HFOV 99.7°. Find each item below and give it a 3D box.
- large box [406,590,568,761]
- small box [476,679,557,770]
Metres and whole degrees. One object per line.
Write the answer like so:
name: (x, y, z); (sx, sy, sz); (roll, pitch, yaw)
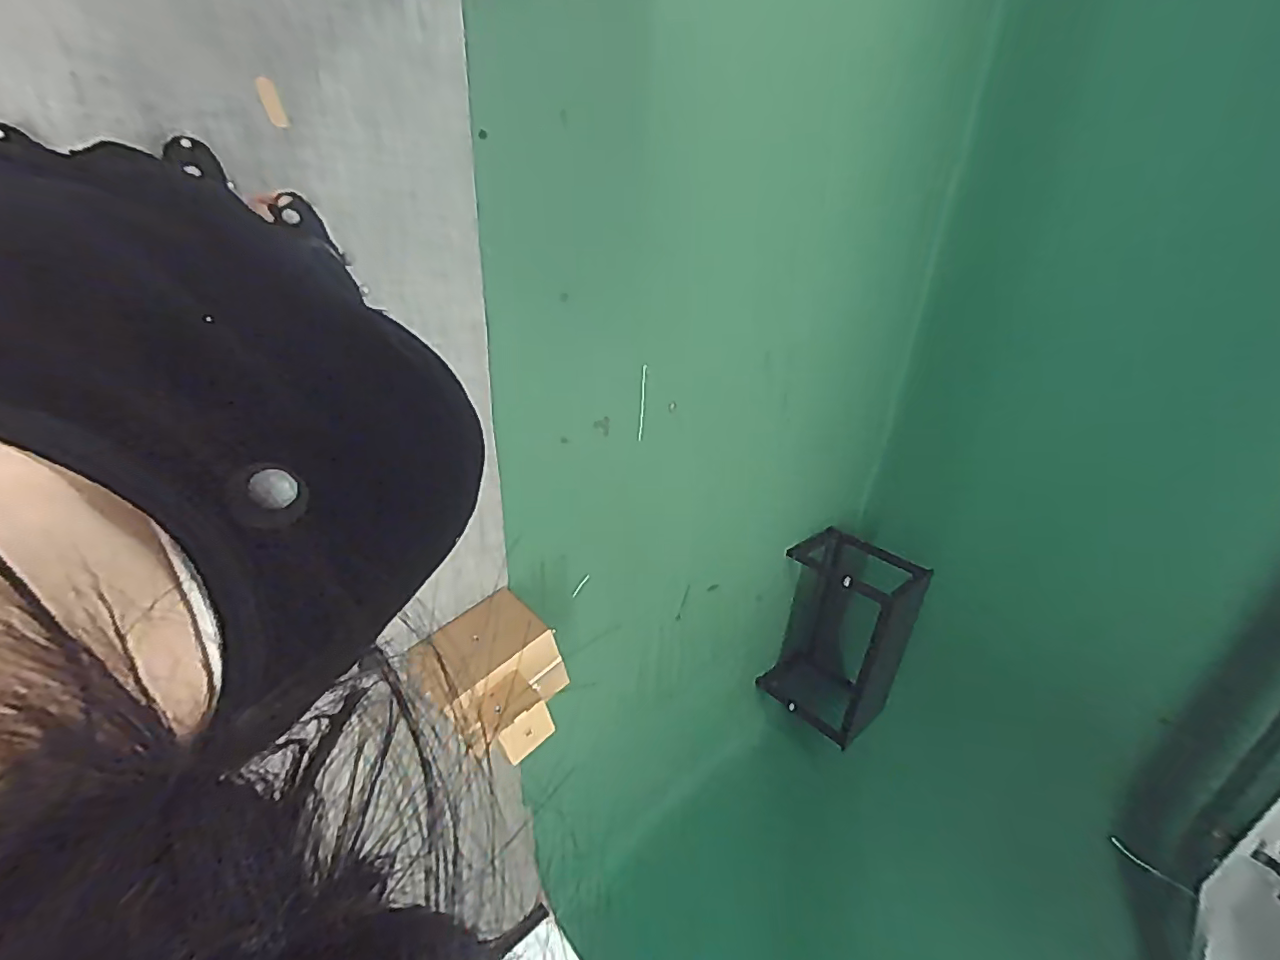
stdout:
large box: (-0.528, 0.672, 1.906); (0.408, 0.320, 0.320); (-34, 133, -31)
small box: (-0.395, 0.765, 1.716); (0.168, 0.176, 0.179); (-32, 130, -30)
